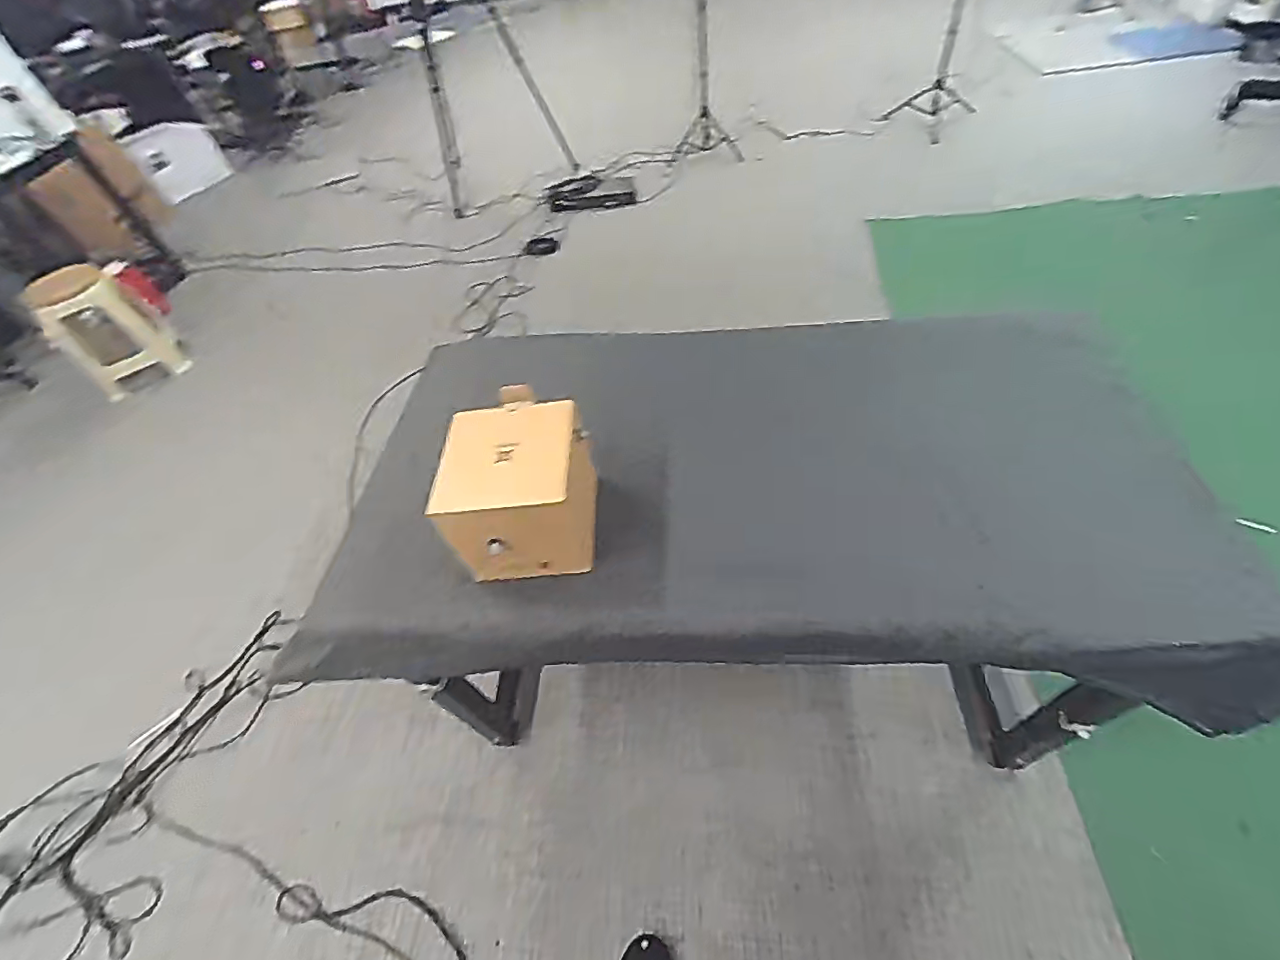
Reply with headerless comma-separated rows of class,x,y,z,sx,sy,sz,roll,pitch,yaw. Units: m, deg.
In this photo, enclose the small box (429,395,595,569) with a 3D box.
small box,-0.158,0.011,0.736,0.168,0.176,0.179,-5,50,4
